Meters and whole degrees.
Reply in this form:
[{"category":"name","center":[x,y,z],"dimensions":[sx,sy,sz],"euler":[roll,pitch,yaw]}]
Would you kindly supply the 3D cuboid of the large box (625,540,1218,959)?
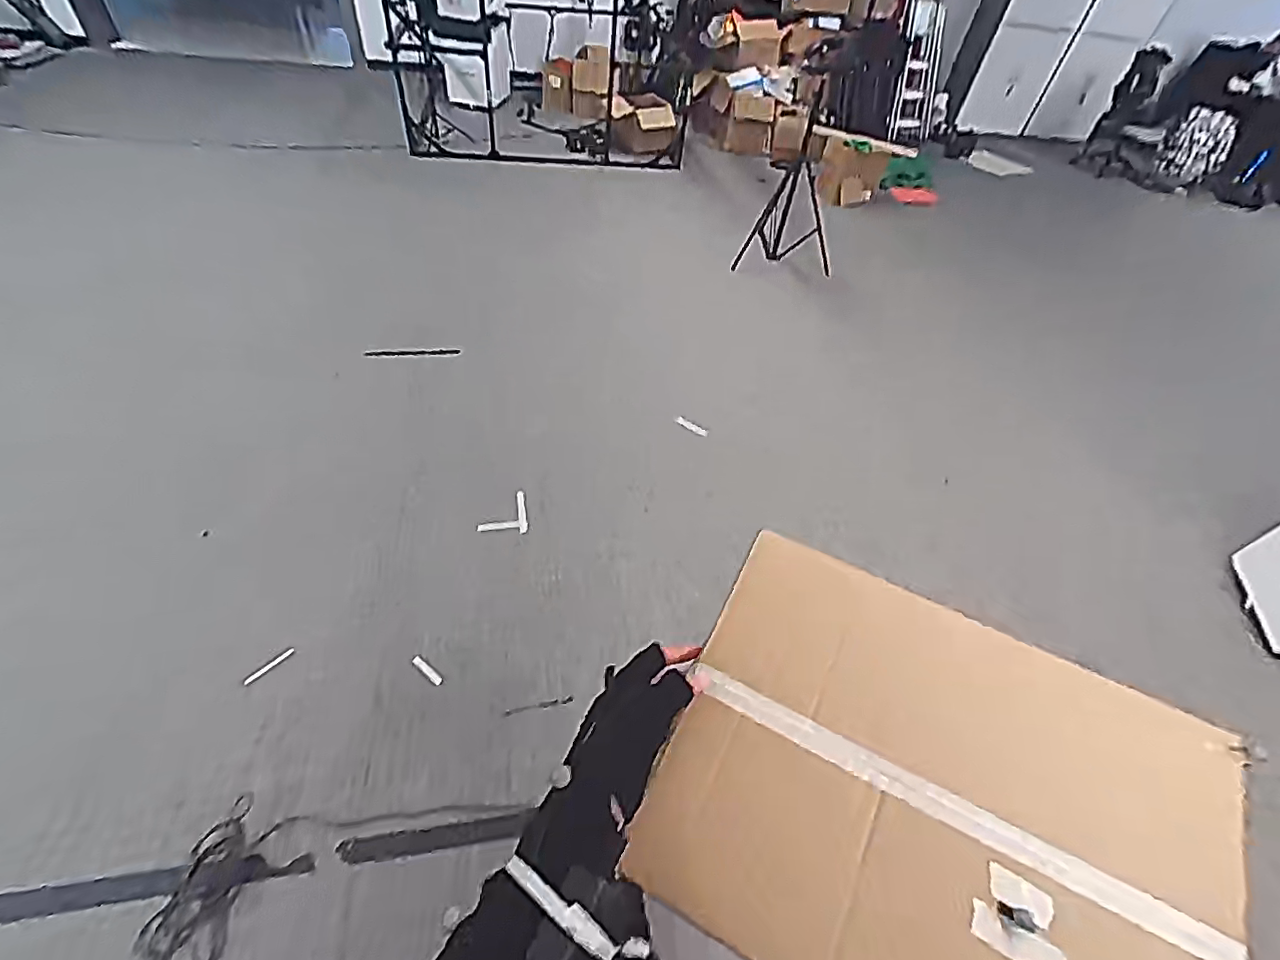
[{"category":"large box","center":[0.232,0.325,0.562],"dimensions":[0.408,0.320,0.320],"euler":[24,64,15]}]
